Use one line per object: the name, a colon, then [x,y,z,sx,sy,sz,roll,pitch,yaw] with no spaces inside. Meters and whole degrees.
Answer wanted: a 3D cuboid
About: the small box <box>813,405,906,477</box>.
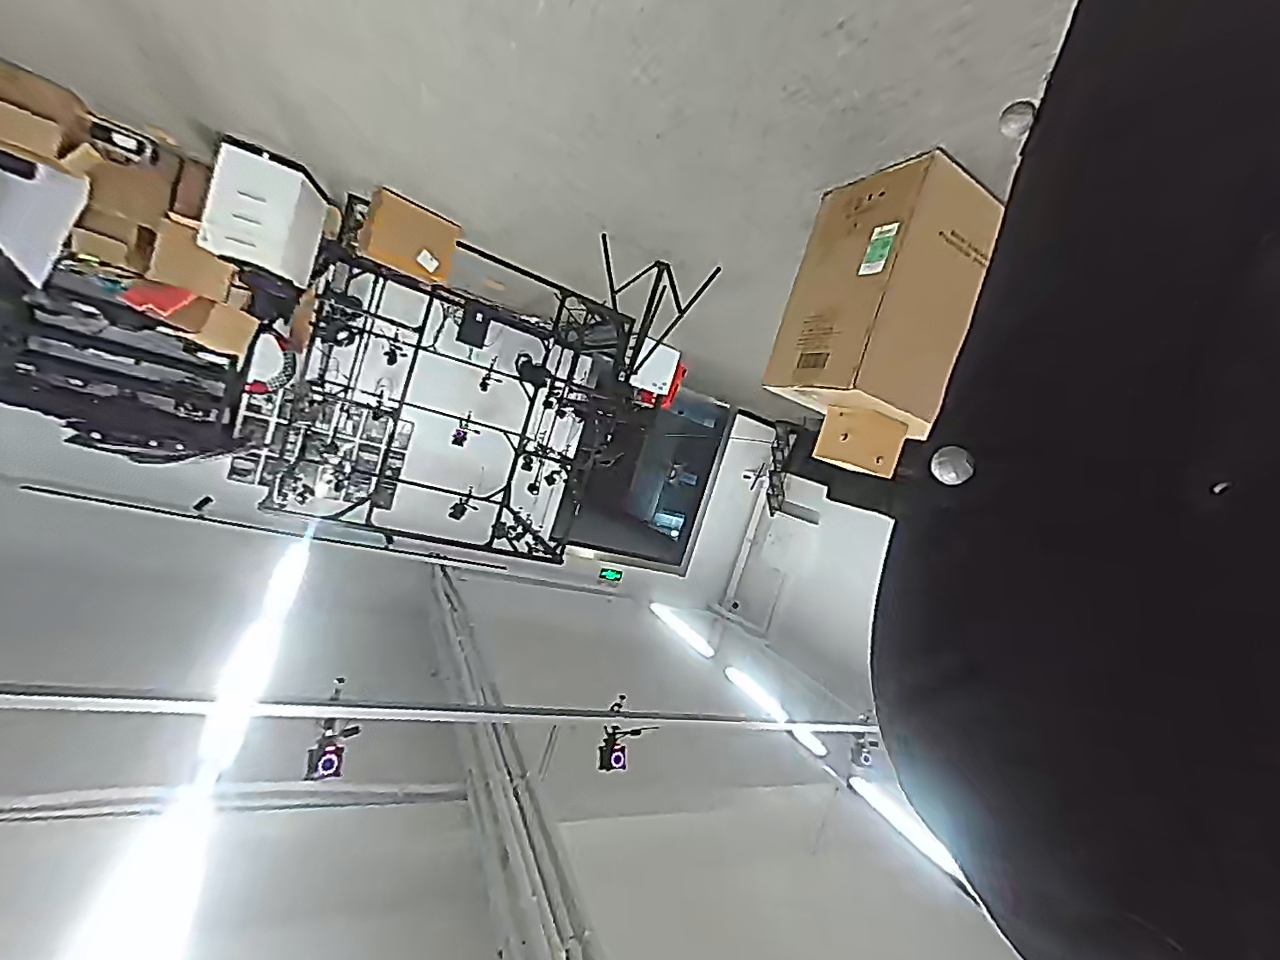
small box: [0.660,-0.121,1.628,0.179,0.176,0.168,15,-176,-27]
